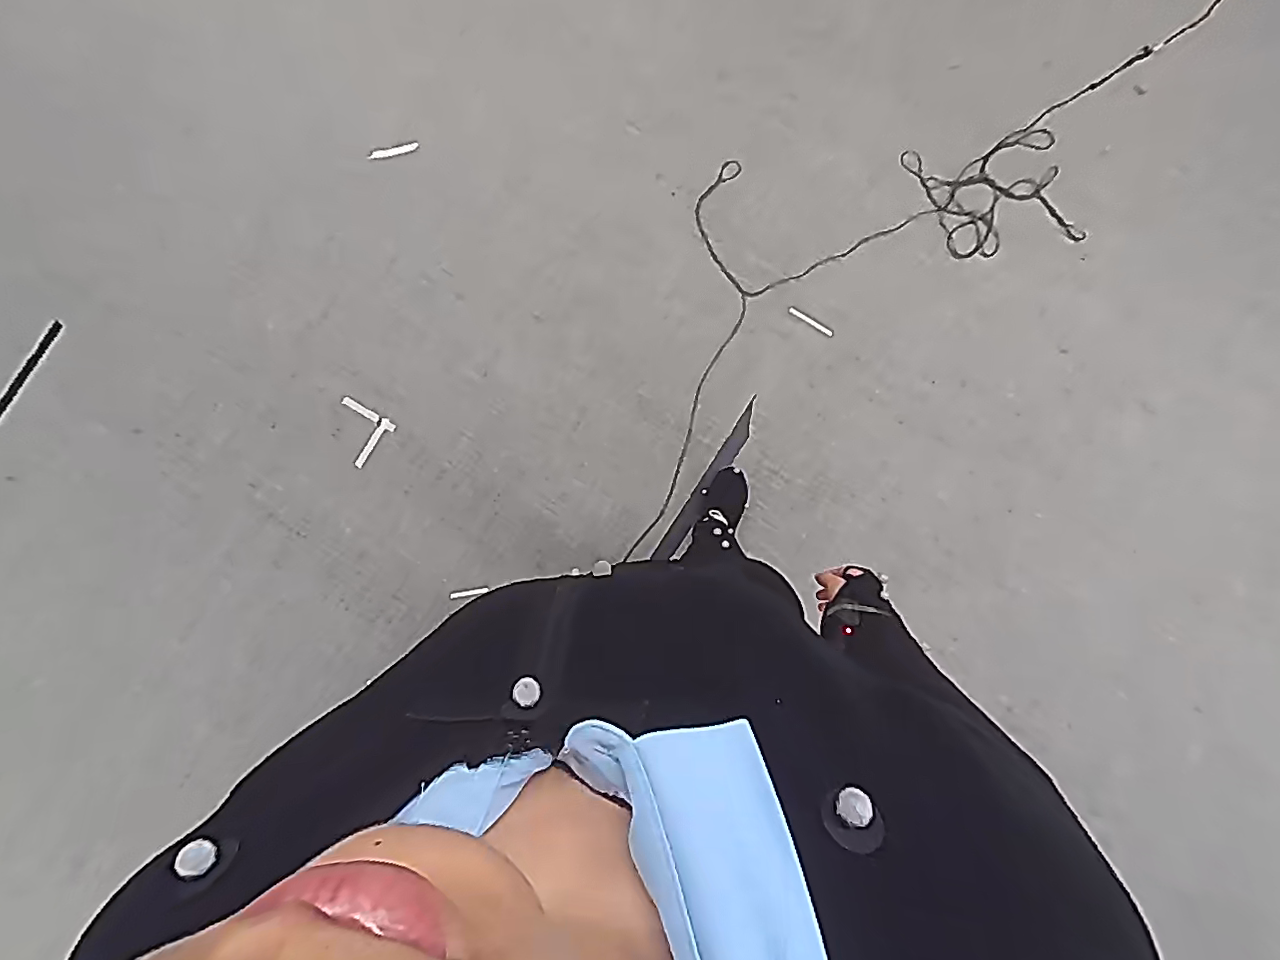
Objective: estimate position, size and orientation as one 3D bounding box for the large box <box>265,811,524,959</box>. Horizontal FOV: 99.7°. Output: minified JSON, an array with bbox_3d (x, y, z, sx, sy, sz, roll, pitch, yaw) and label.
[{"bbox_3d":[-0.513,0.987,1.112,0.408,0.320,0.320,29,86,3],"label":"large box"}]
